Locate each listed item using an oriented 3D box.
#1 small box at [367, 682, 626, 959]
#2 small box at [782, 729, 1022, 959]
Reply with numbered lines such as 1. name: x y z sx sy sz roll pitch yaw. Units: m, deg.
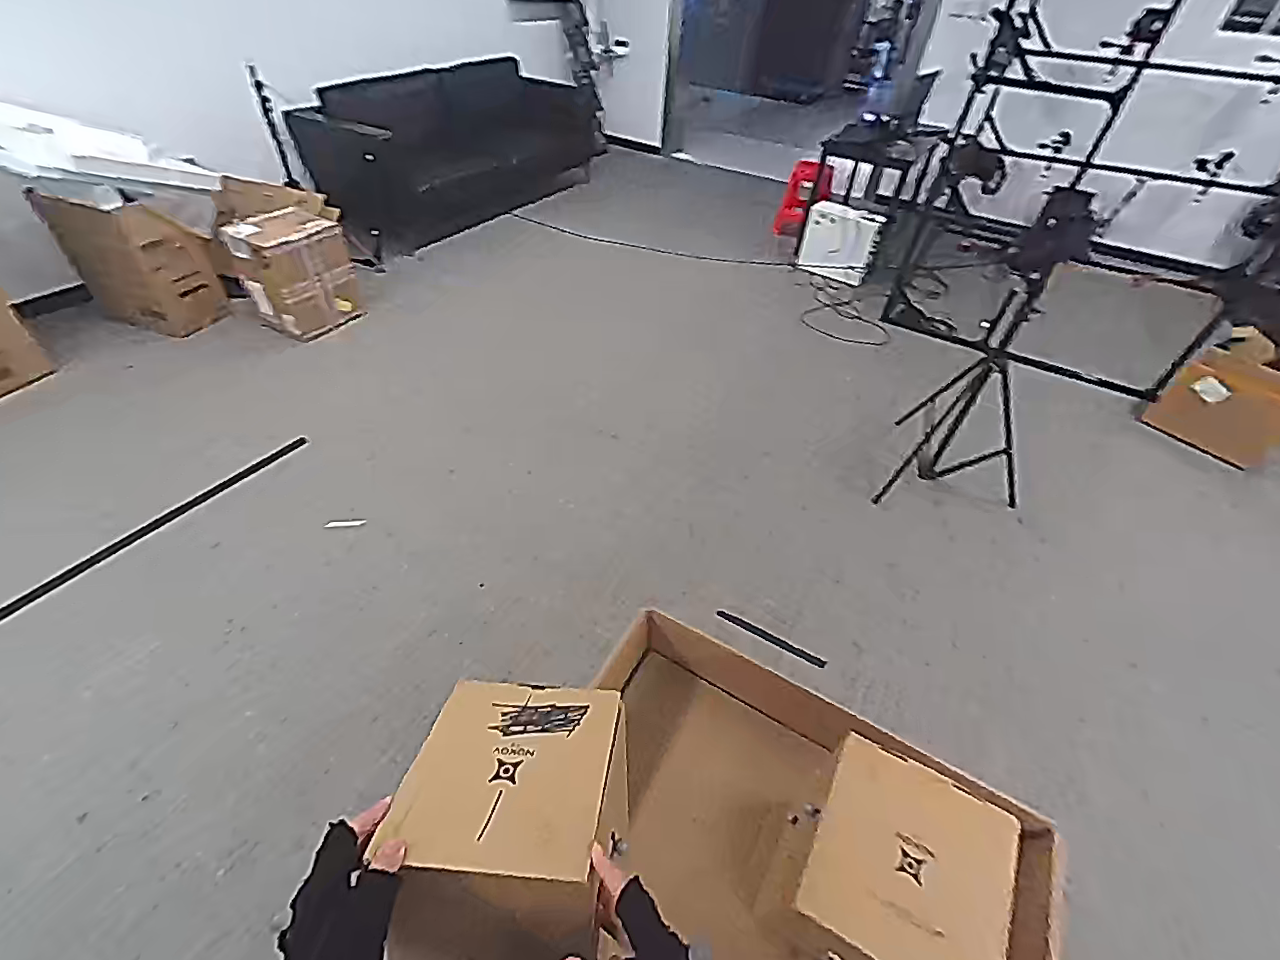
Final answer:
1. small box: -0.104 0.309 0.477 0.168 0.176 0.179 1 21 6
2. small box: 0.258 0.403 0.559 0.168 0.176 0.179 21 53 22
